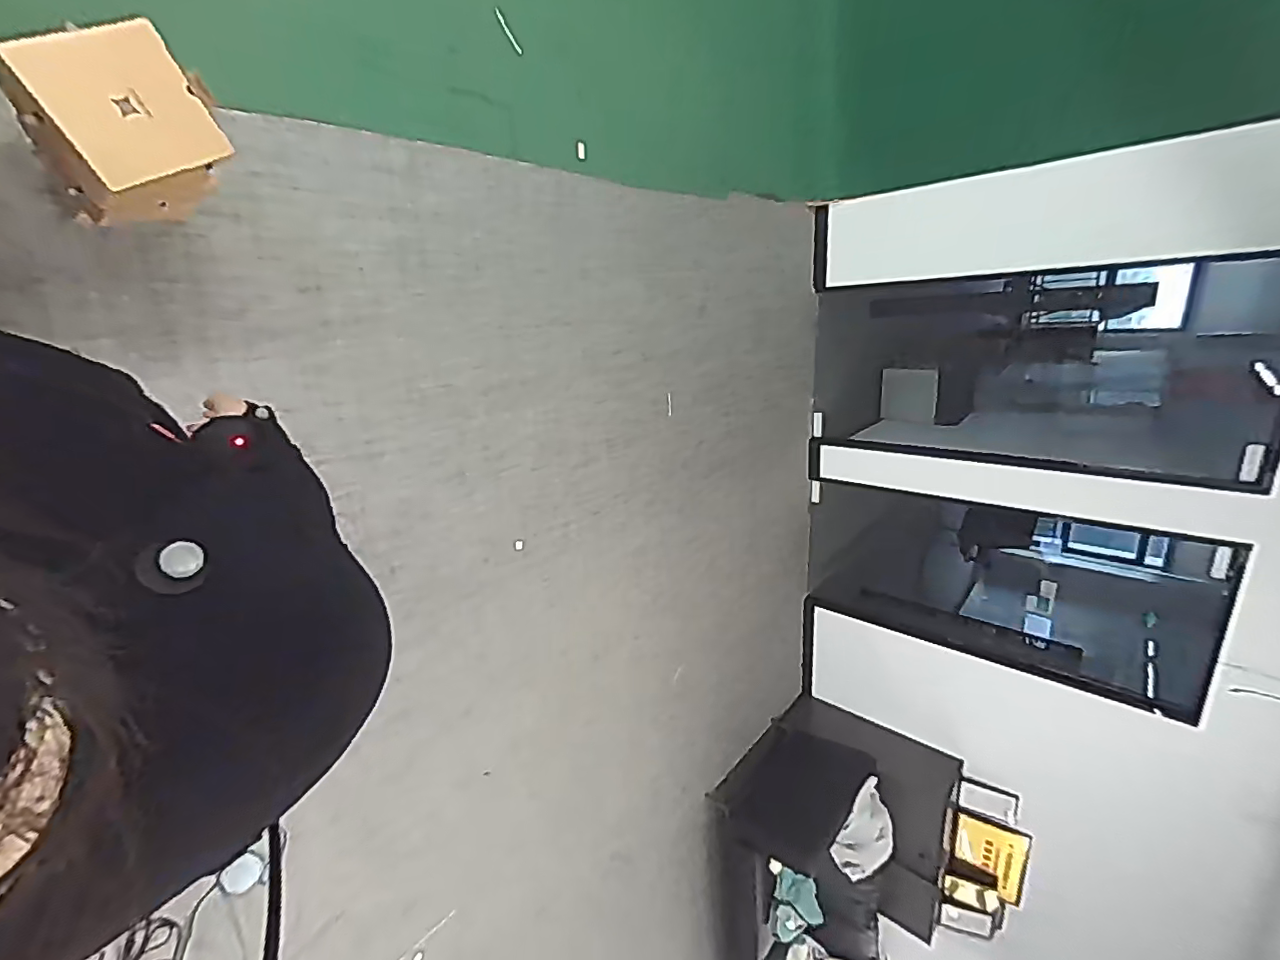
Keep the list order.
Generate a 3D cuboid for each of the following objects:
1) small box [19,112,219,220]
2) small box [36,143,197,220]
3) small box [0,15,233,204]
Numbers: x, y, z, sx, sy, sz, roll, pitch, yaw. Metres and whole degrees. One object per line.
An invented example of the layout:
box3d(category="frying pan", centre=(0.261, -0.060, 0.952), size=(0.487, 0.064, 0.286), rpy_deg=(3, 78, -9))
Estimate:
box3d(category="small box", centre=(-0.845, -0.538, 0.880), size=(0.179, 0.176, 0.168), rpy_deg=(-43, 131, -34))
box3d(category="small box", centre=(-0.961, -0.578, 0.987), size=(0.179, 0.176, 0.168), rpy_deg=(-30, 122, -41))
box3d(category="small box", centre=(-0.734, -0.510, 0.762), size=(0.179, 0.176, 0.168), rpy_deg=(-48, 132, -31))
